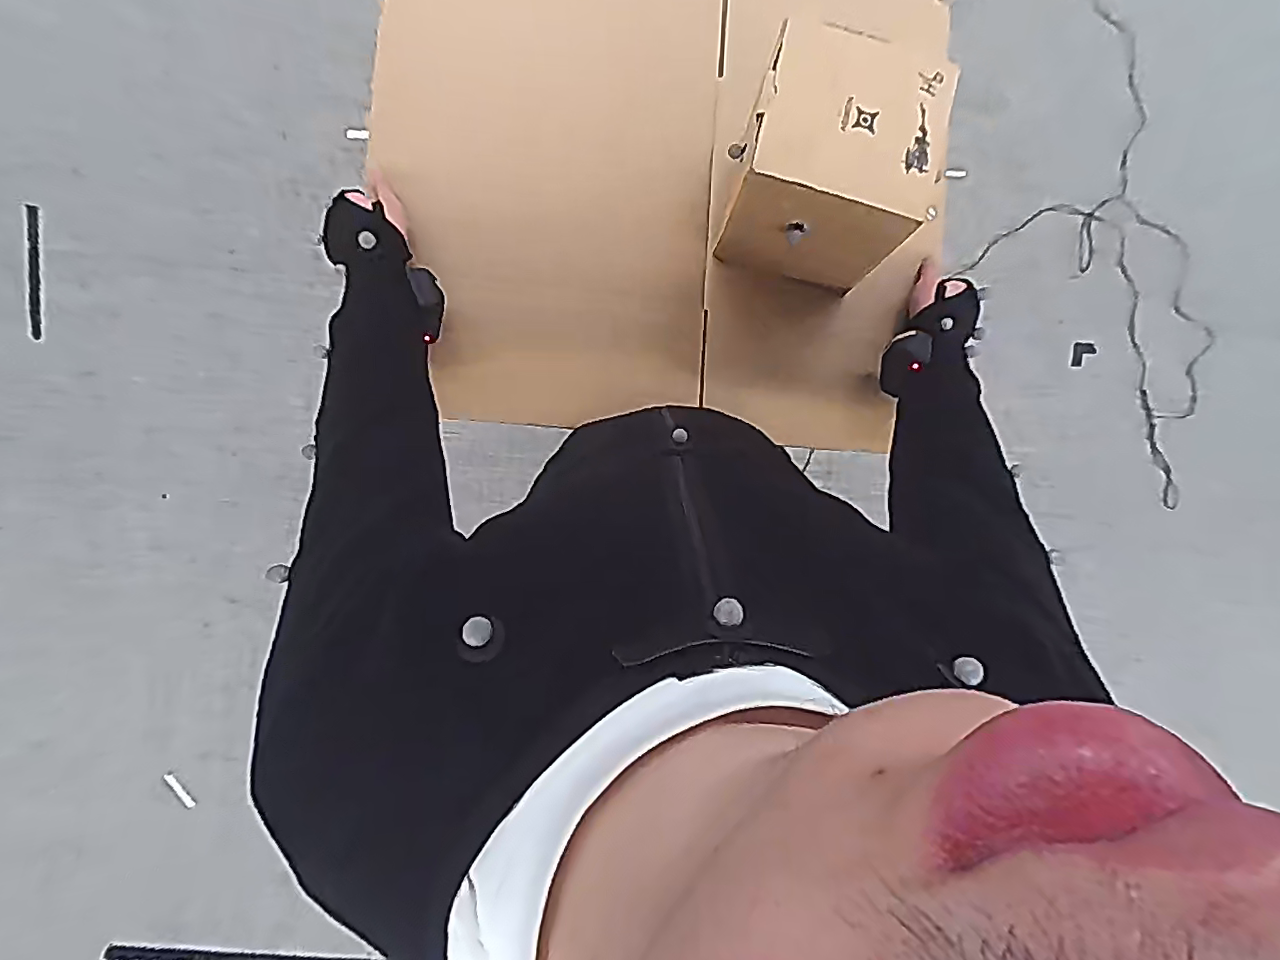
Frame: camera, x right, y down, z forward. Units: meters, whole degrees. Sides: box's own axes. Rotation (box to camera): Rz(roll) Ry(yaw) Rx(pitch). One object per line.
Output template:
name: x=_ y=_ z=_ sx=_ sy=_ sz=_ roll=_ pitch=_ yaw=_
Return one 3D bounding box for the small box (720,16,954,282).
small box: x=0.199 y=-0.343 z=0.596 sx=0.179 sy=0.176 sz=0.168 roll=15 pitch=86 yaw=-2
